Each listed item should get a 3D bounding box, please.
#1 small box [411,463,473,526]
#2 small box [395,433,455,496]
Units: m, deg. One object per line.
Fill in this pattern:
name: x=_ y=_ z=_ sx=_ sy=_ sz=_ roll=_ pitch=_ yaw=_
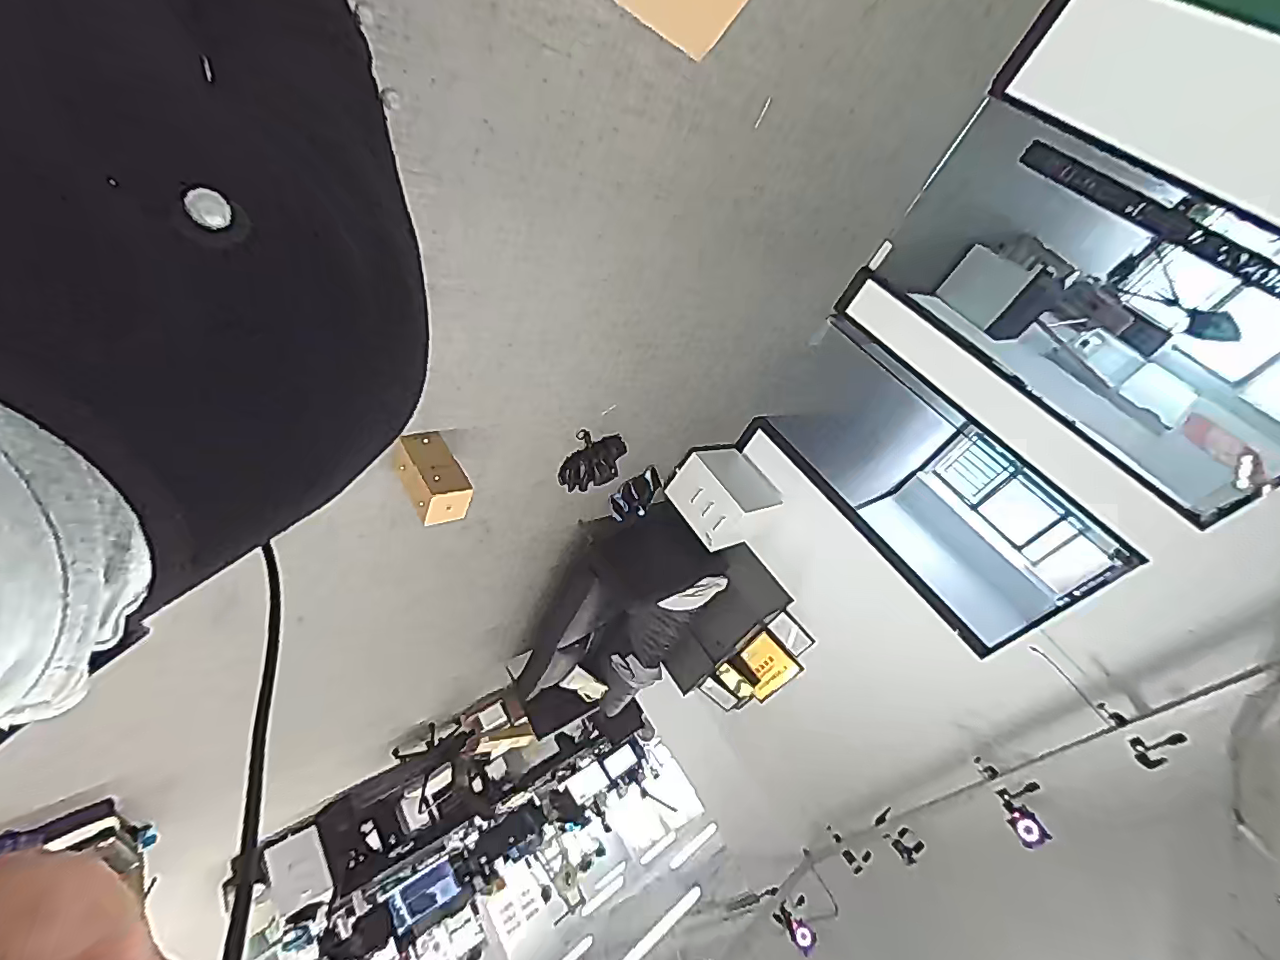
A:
small box: x=-0.777 y=0.048 z=2.110 sx=0.168 sy=0.176 sz=0.179 roll=-13 pitch=147 yaw=-41
small box: x=-0.870 y=-0.065 z=2.178 sx=0.168 sy=0.176 sz=0.179 roll=-15 pitch=147 yaw=-41
